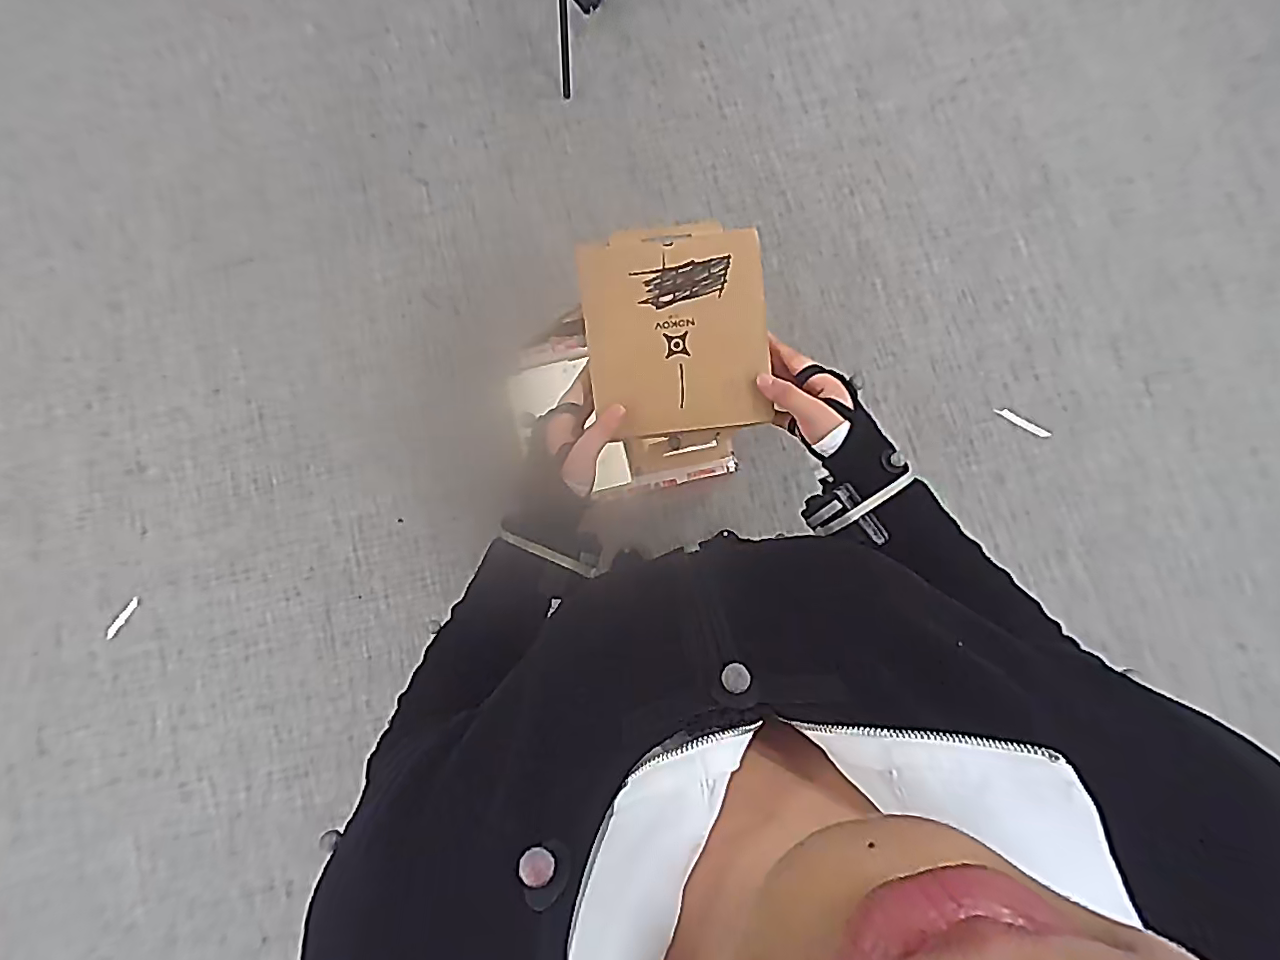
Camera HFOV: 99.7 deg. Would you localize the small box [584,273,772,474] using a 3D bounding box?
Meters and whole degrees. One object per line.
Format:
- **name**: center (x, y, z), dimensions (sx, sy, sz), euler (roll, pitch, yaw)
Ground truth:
- **small box**: center (0.035, -0.103, 0.583), dimensions (0.168, 0.176, 0.179), euler (-6, 94, 0)
